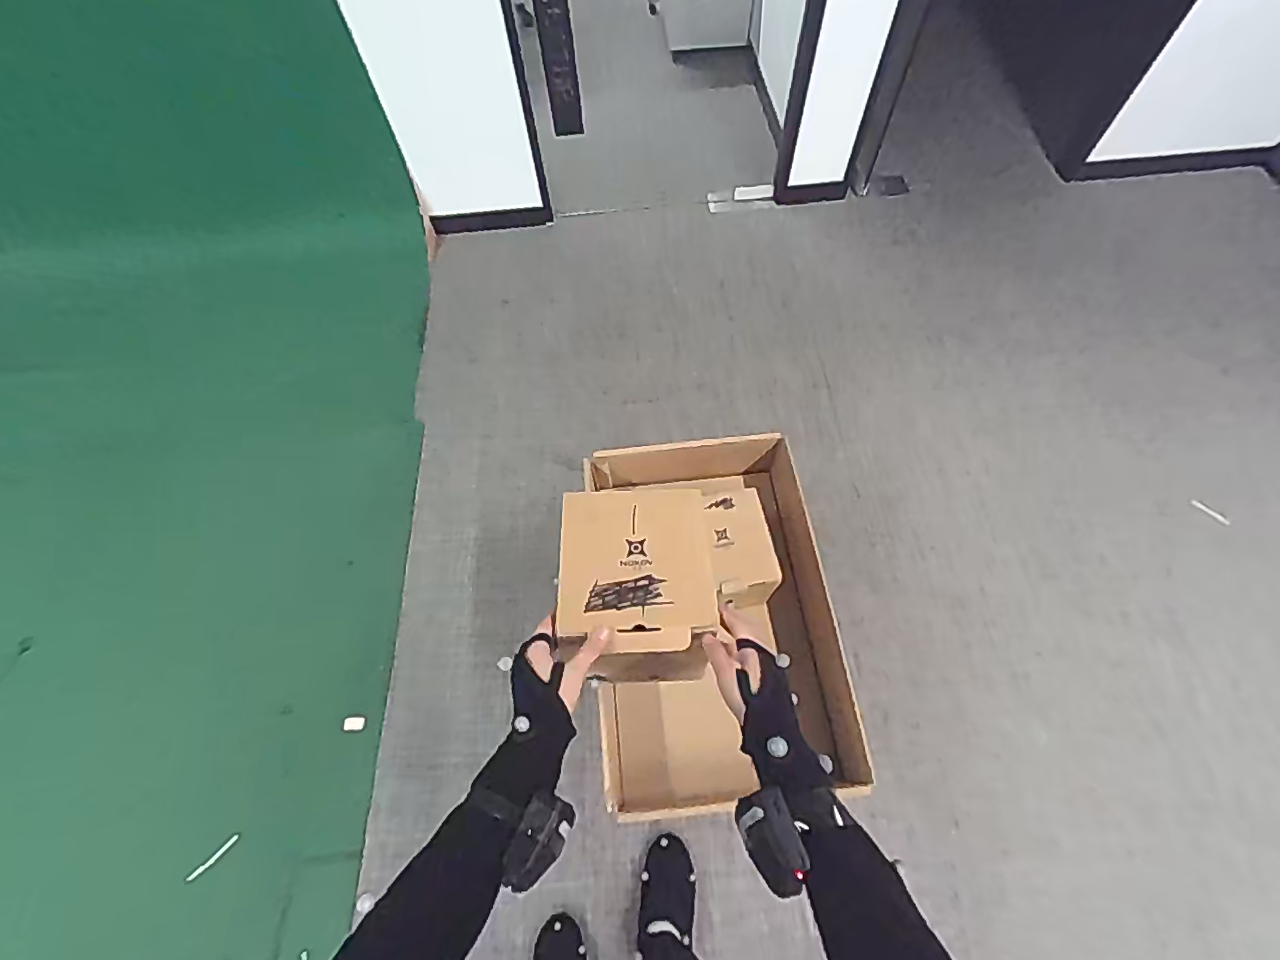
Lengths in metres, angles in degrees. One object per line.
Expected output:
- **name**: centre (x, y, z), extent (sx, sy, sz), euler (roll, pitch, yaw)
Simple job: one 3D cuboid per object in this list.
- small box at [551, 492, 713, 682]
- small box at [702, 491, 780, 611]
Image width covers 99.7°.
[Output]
- **small box**: centre (-0.008, 0.133, 0.647), extent (0.168, 0.176, 0.179), euler (0, 52, -2)
- **small box**: centre (0.144, 0.141, 0.998), extent (0.168, 0.176, 0.179), euler (-8, 64, -3)
